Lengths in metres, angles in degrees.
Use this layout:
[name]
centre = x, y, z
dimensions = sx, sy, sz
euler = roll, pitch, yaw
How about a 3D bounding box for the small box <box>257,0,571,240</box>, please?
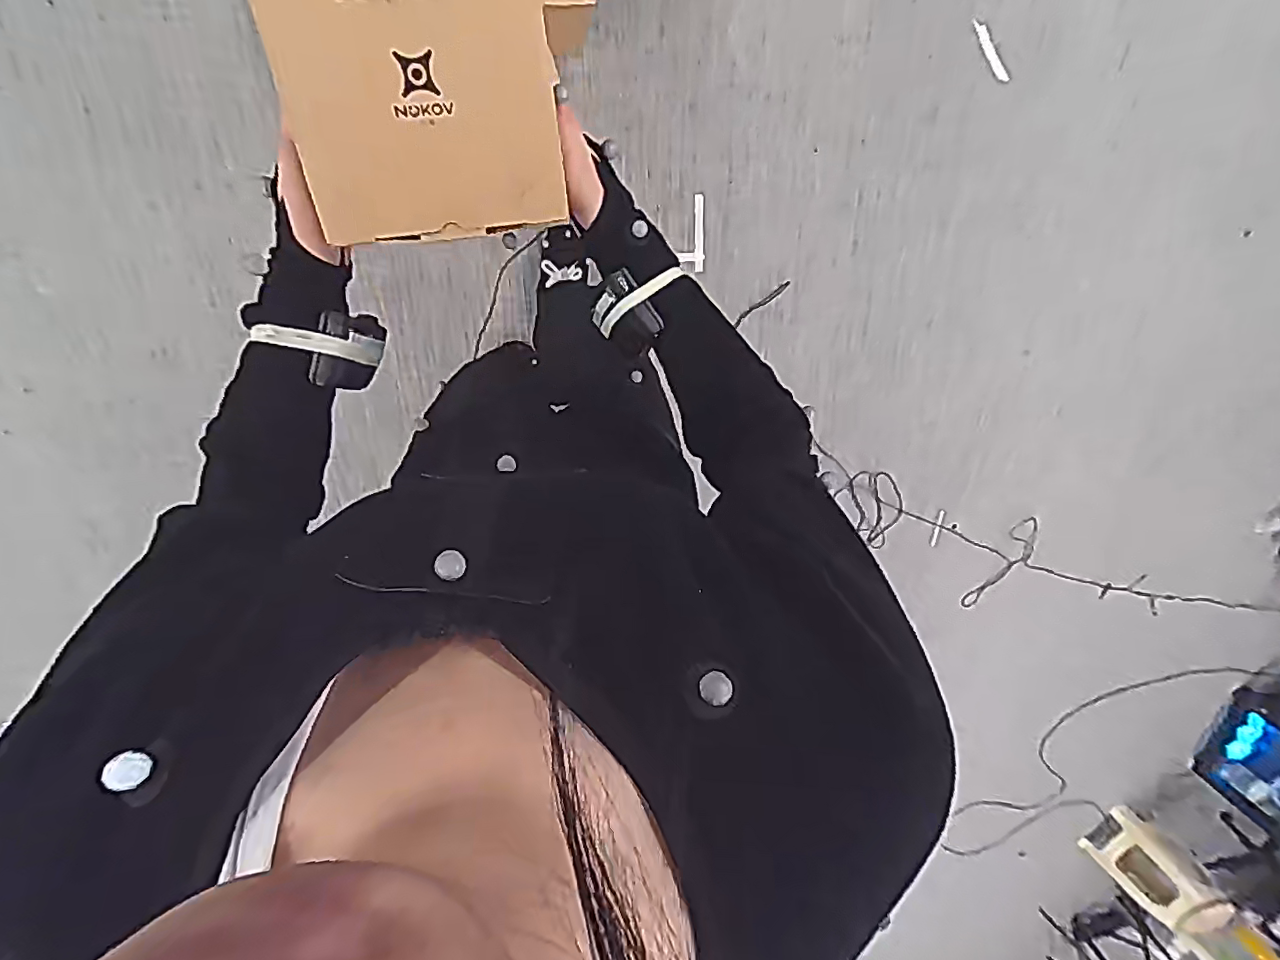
[small box]
centre = -0.150, -0.285, 0.402
dimensions = 0.168, 0.176, 0.179
euler = -11, 116, -9
